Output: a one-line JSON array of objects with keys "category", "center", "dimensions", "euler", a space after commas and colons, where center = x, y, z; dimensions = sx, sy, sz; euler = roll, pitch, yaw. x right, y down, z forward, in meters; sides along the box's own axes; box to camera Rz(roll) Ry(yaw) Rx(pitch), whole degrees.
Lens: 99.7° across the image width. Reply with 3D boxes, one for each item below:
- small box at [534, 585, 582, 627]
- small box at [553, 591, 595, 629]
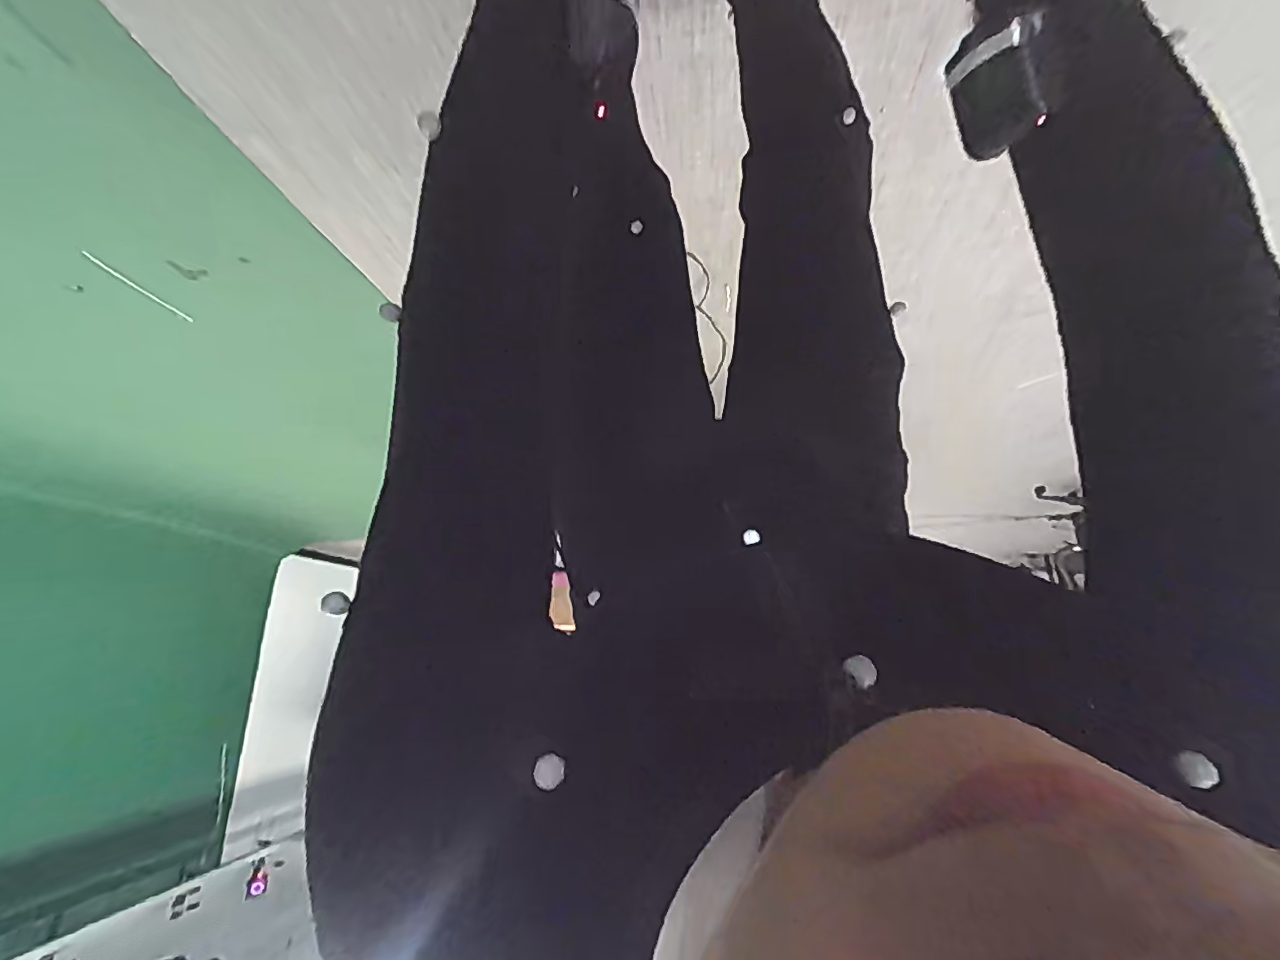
[{"category": "small box", "center": [-0.347, 0.542, 2.321], "dimensions": [0.168, 0.176, 0.179], "euler": [-3, 163, 6]}, {"category": "small box", "center": [-0.313, 0.618, 2.570], "dimensions": [0.168, 0.176, 0.179], "euler": [-4, 162, 8]}]
